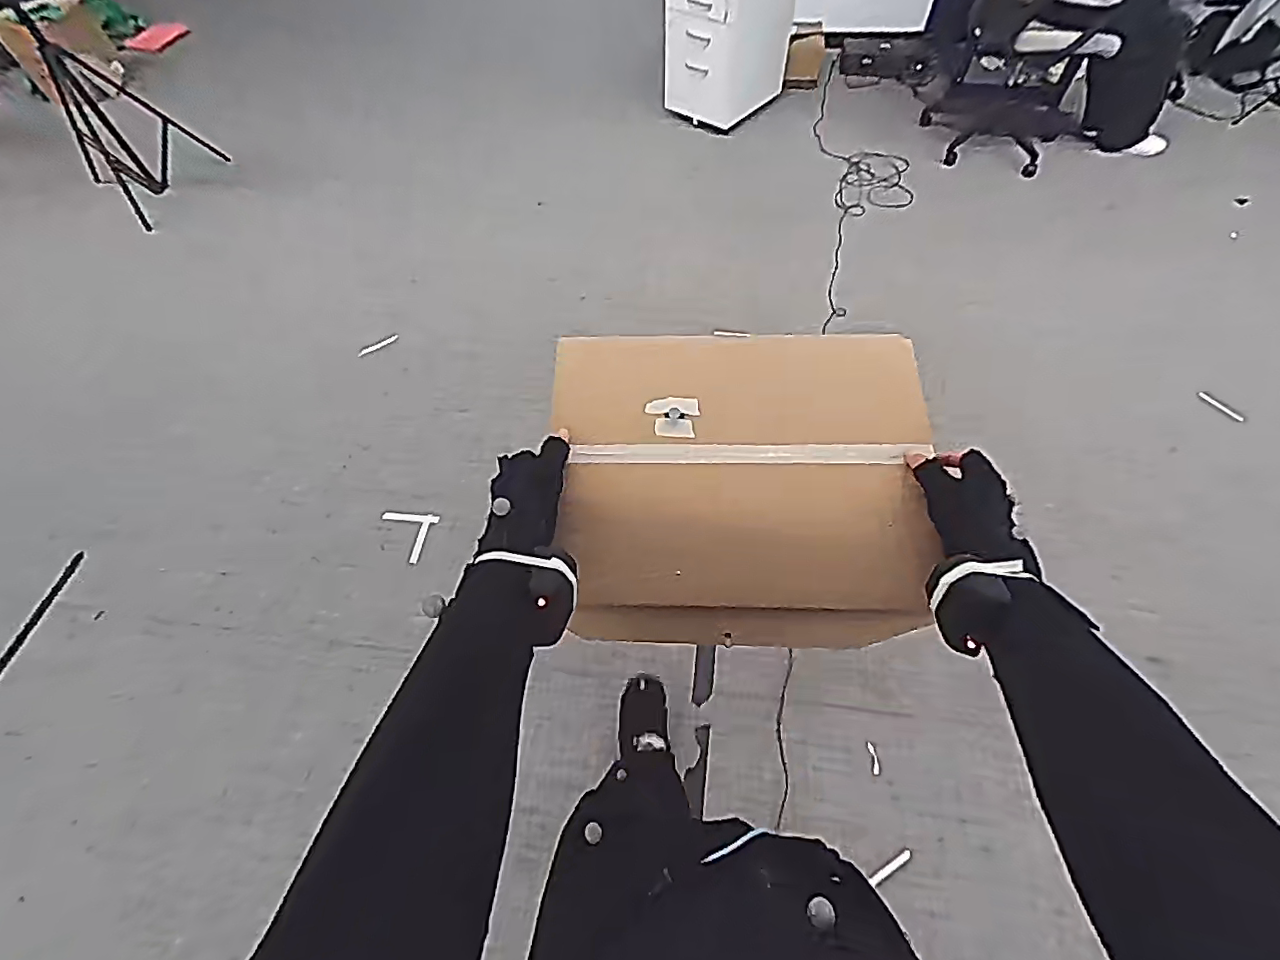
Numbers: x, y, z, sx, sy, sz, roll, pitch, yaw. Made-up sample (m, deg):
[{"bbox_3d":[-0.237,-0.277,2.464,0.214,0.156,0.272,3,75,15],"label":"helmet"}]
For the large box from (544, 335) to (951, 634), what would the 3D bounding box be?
[{"bbox_3d":[0.115,0.032,0.722,0.408,0.320,0.320,0,66,4],"label":"large box"}]
